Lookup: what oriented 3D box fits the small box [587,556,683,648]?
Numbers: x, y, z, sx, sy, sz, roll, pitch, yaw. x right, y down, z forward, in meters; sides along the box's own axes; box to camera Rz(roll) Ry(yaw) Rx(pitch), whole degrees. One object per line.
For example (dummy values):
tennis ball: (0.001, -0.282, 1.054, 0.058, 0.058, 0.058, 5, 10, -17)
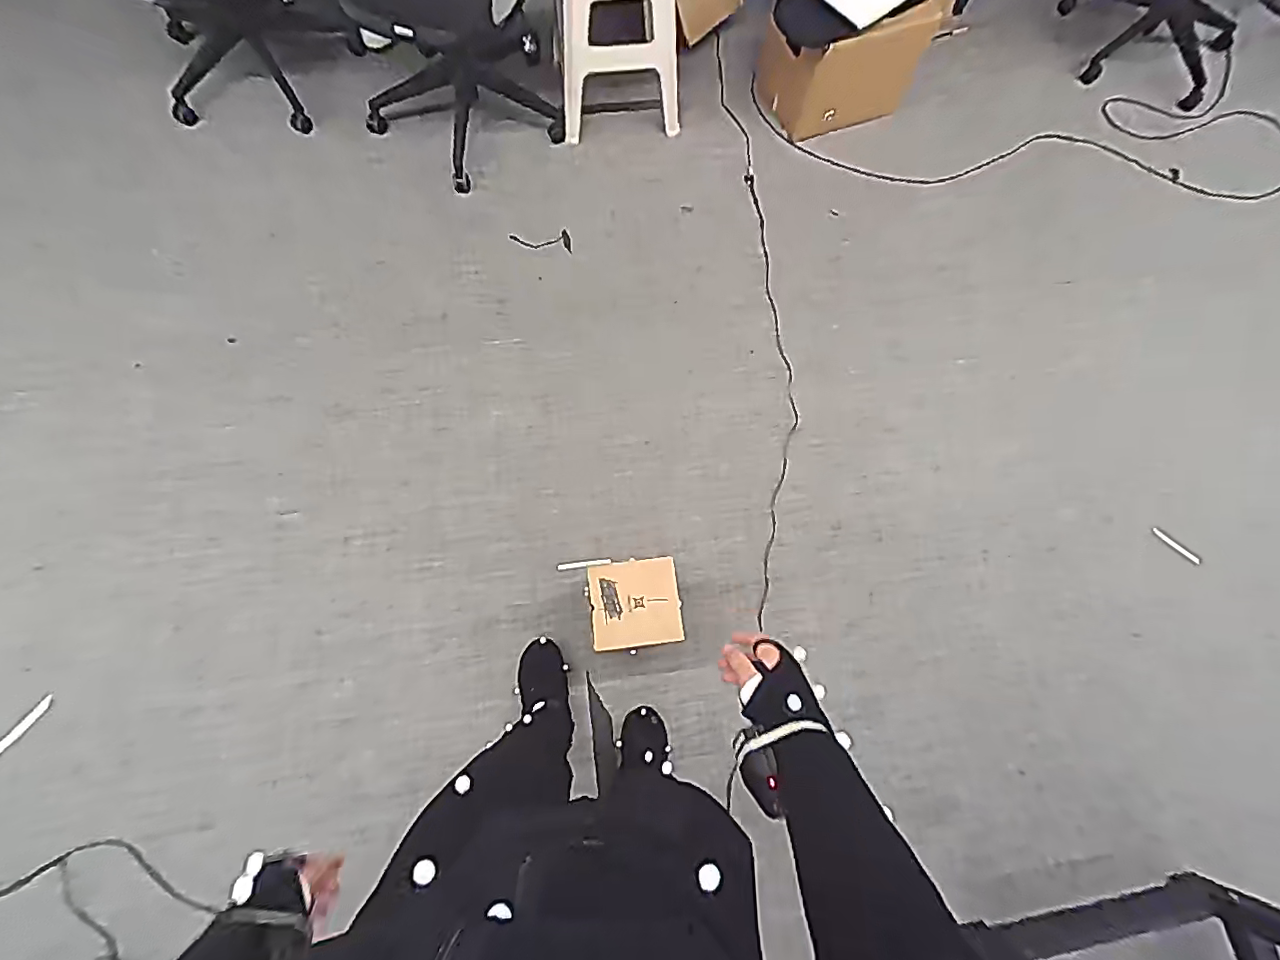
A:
small box: (-0.013, 0.261, 1.137, 0.179, 0.176, 0.168, -6, 74, -5)
